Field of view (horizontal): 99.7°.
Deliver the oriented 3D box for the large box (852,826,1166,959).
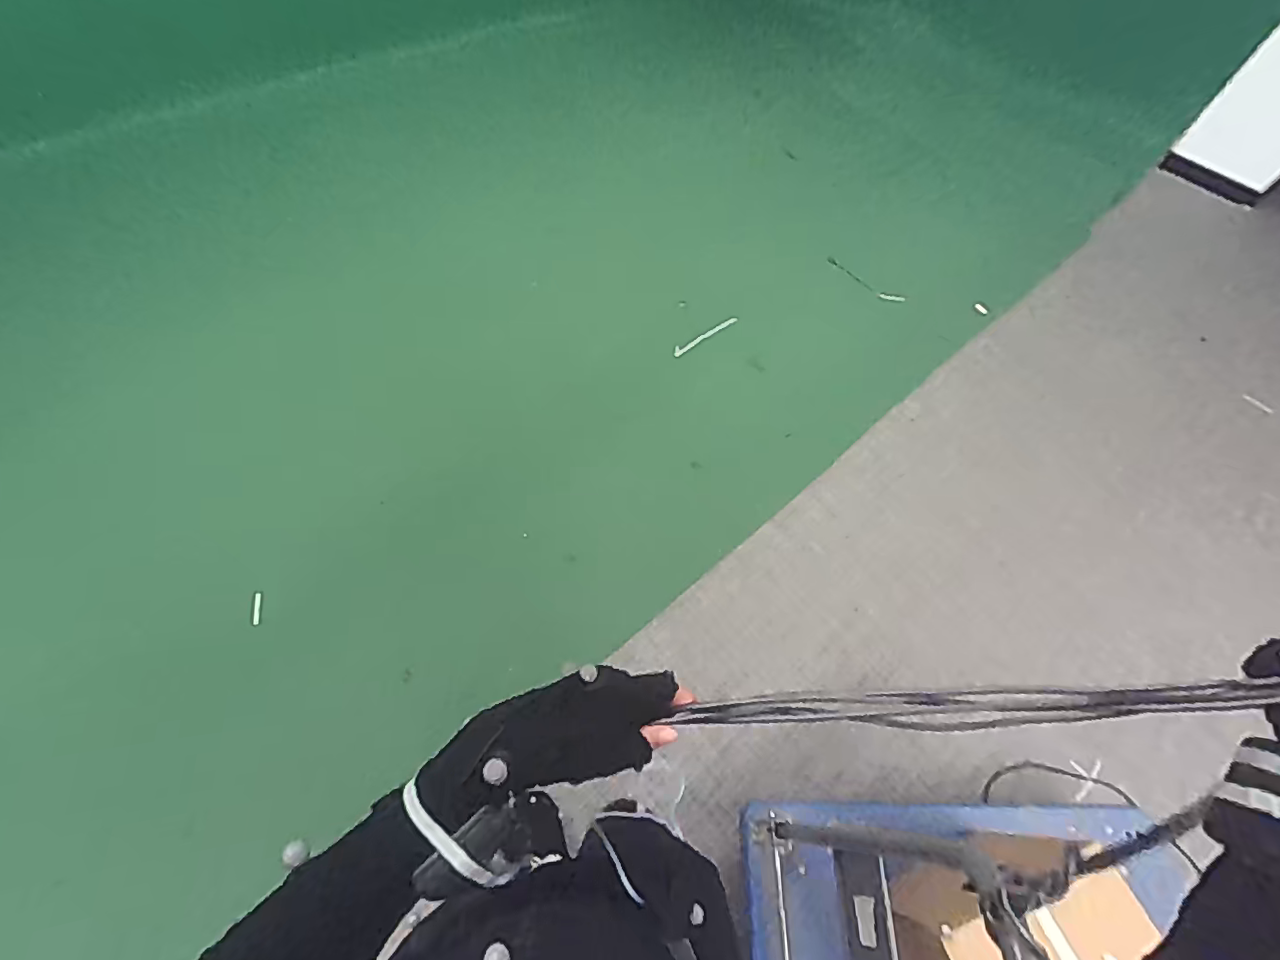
[{"bbox_3d":[0.624,0.837,0.862,0.320,0.320,0.408,-16,62,-14],"label":"large box"}]
